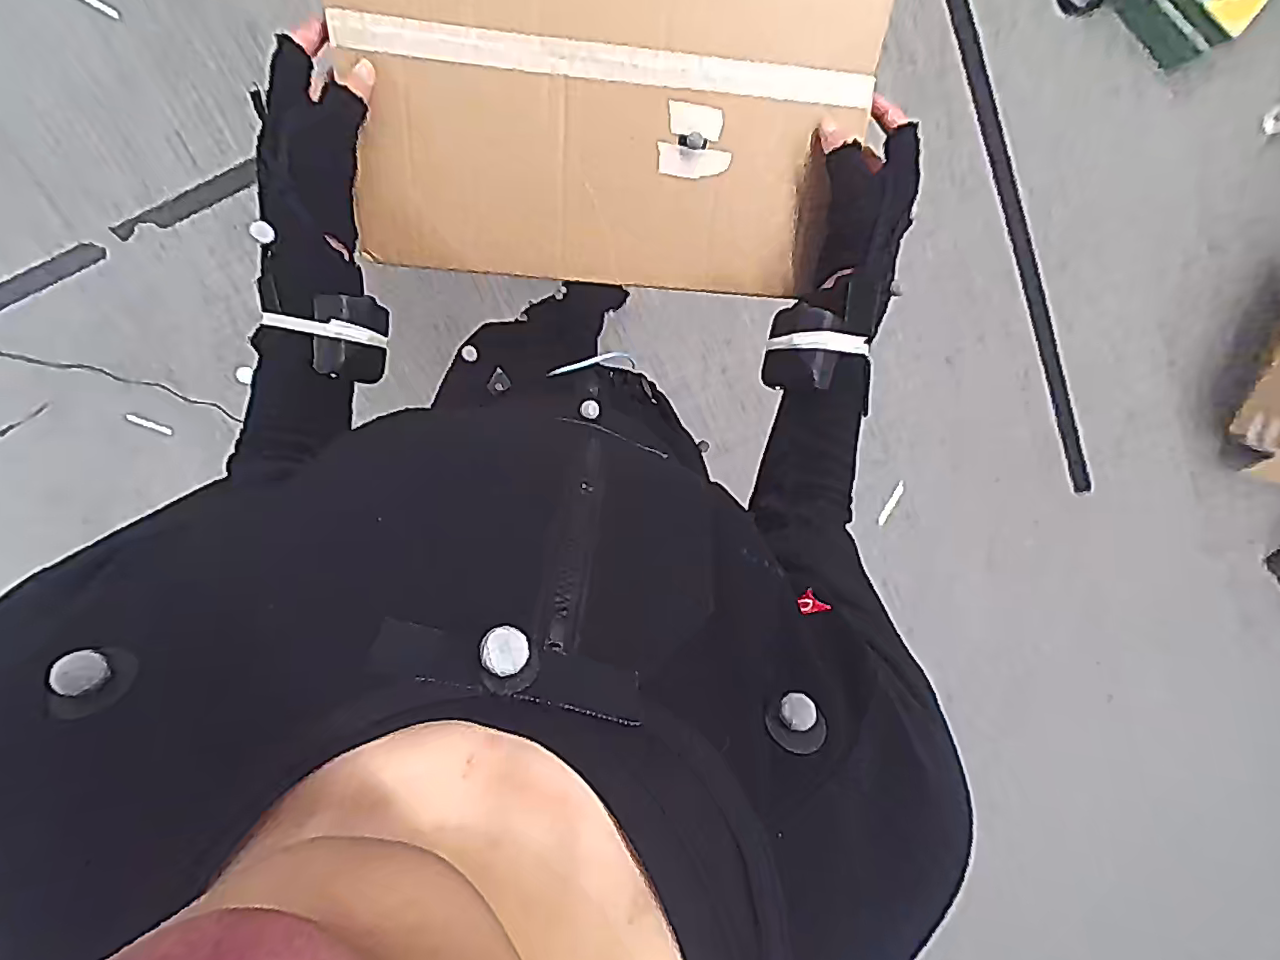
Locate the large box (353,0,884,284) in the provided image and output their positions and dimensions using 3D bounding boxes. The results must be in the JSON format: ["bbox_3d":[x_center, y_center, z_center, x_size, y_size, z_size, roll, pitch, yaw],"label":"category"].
[{"bbox_3d":[-0.028,-0.395,0.552,0.408,0.320,0.320,3,118,-6],"label":"large box"}]
